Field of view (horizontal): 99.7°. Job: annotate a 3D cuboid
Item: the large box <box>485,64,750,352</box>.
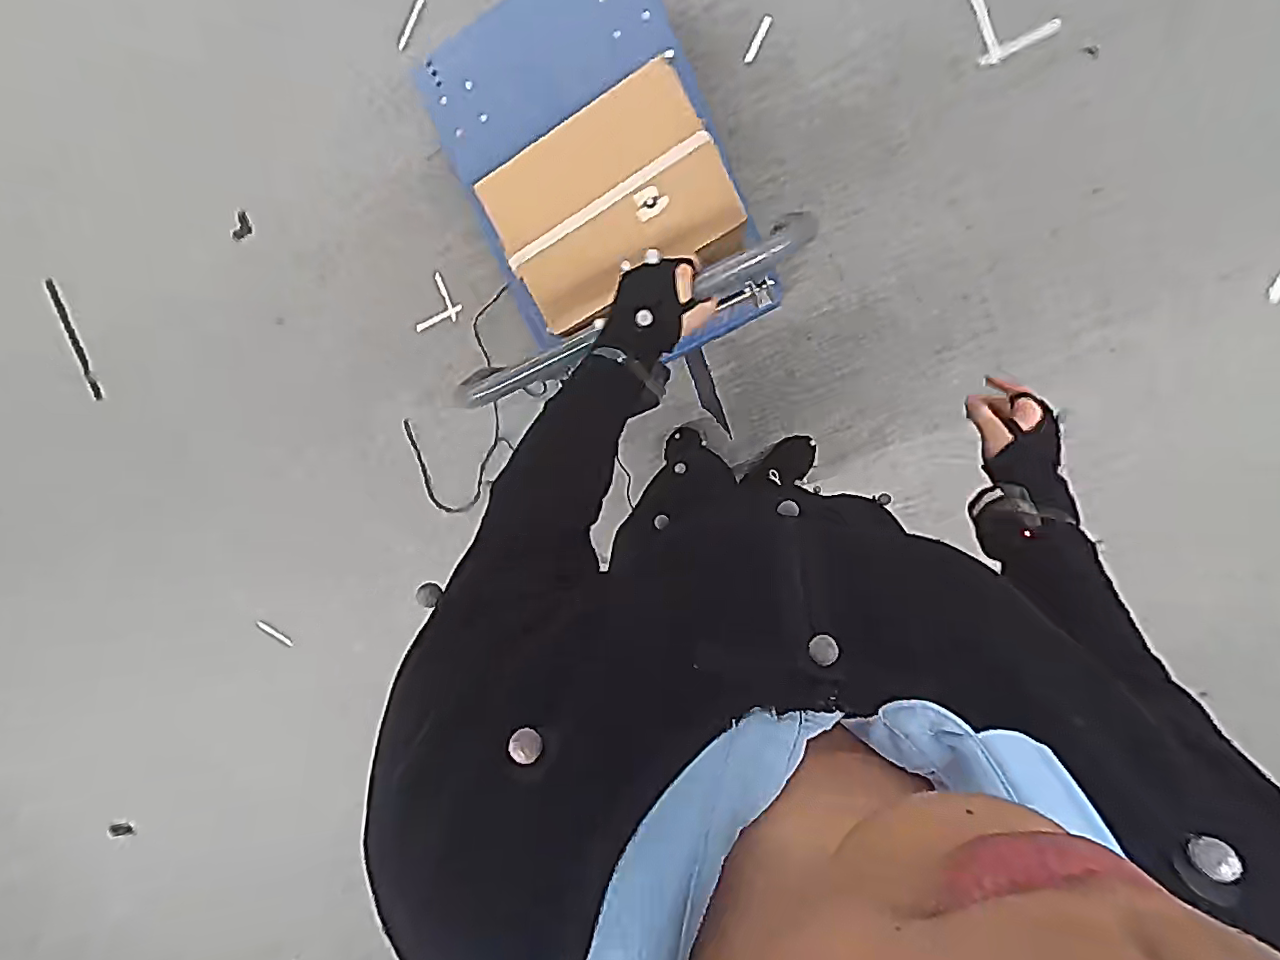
[{"bbox_3d":[-0.029,-0.510,1.117,0.408,0.320,0.320,-28,94,11],"label":"large box"}]
